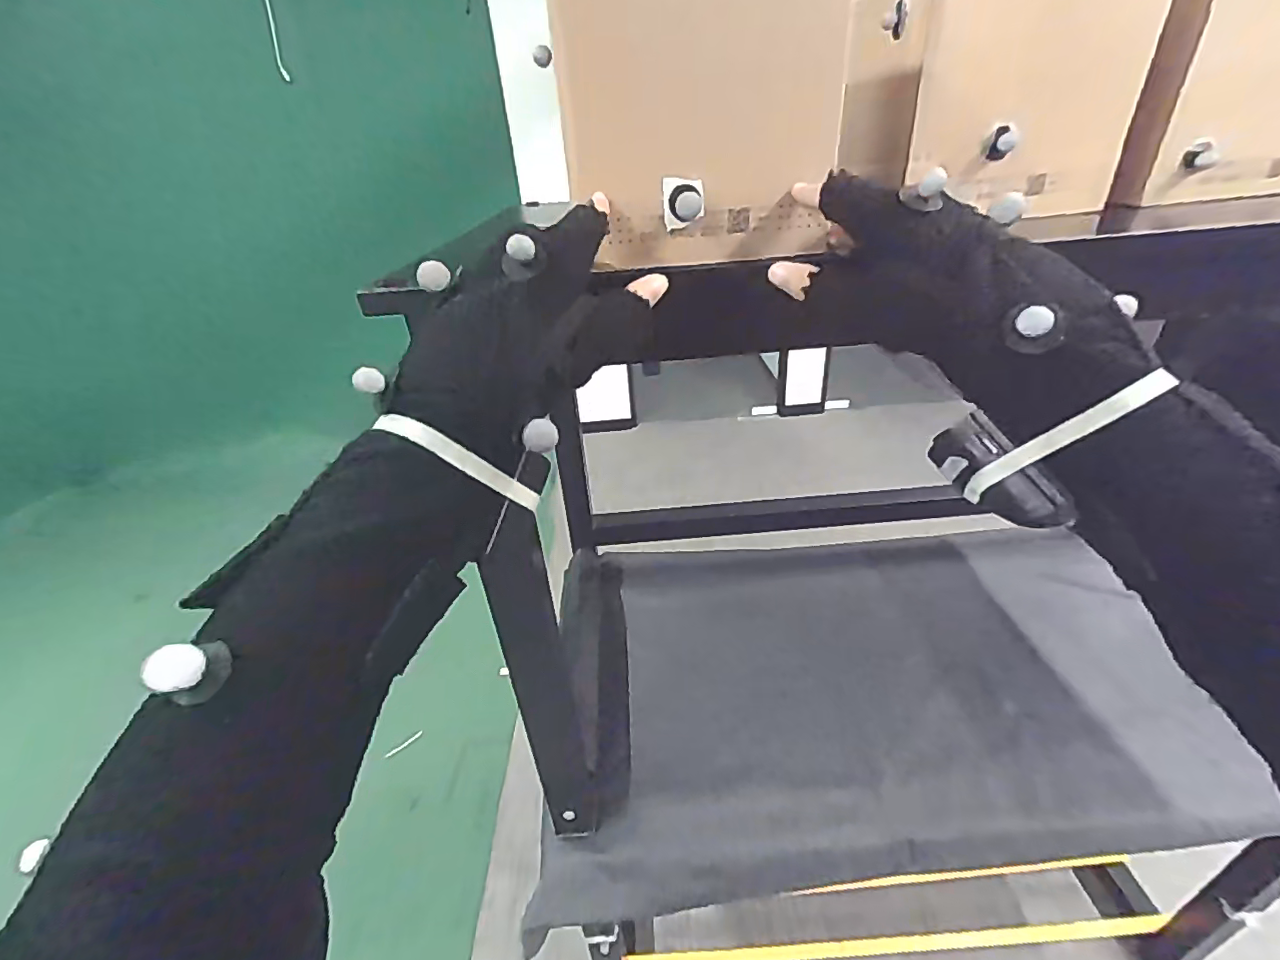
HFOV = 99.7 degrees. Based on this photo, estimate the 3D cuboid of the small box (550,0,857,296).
[{"bbox_3d":[0.032,-0.239,0.389,0.168,0.176,0.179,-7,32,-2],"label":"small box"}]
